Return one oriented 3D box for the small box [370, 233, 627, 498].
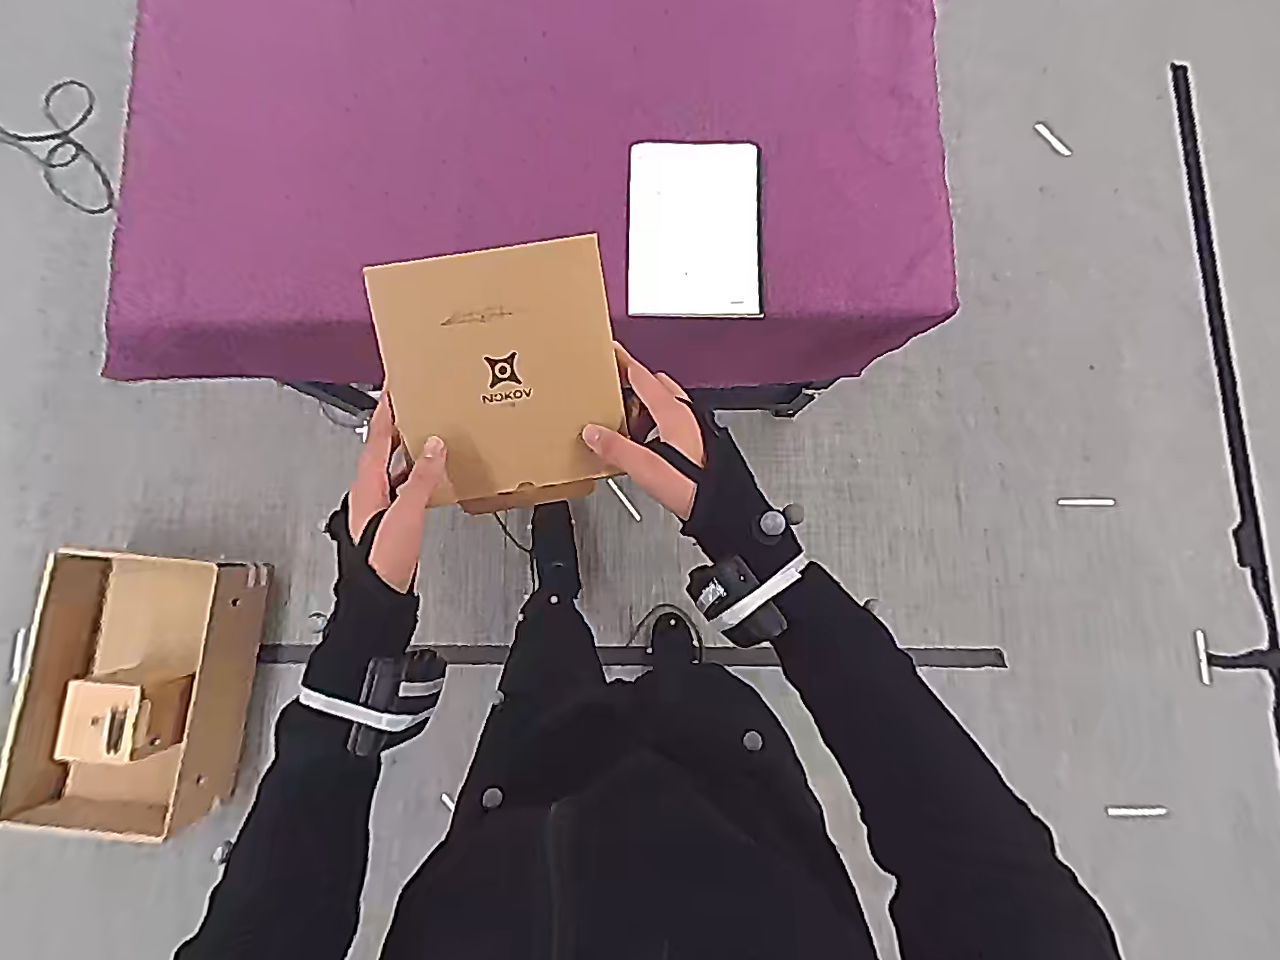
[{"bbox_3d":[-0.103,-0.094,0.474,0.168,0.176,0.179,-8,99,-2],"label":"small box"}]
